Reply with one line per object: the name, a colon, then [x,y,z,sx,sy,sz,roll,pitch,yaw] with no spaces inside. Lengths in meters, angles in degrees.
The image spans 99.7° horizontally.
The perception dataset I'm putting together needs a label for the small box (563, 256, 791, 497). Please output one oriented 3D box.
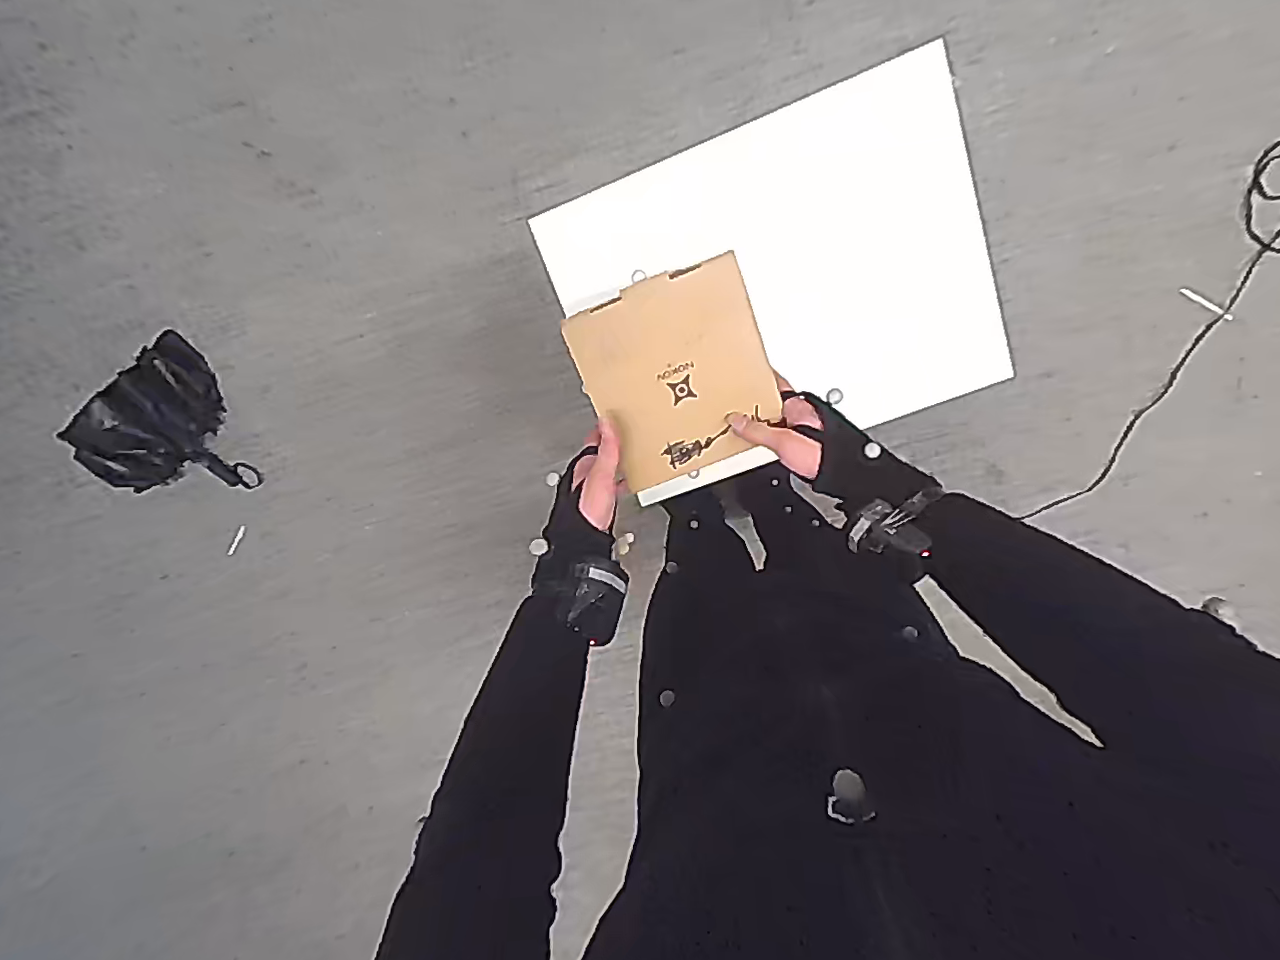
small box: [0.034,-0.112,0.566,0.168,0.176,0.179,-22,109,6]
